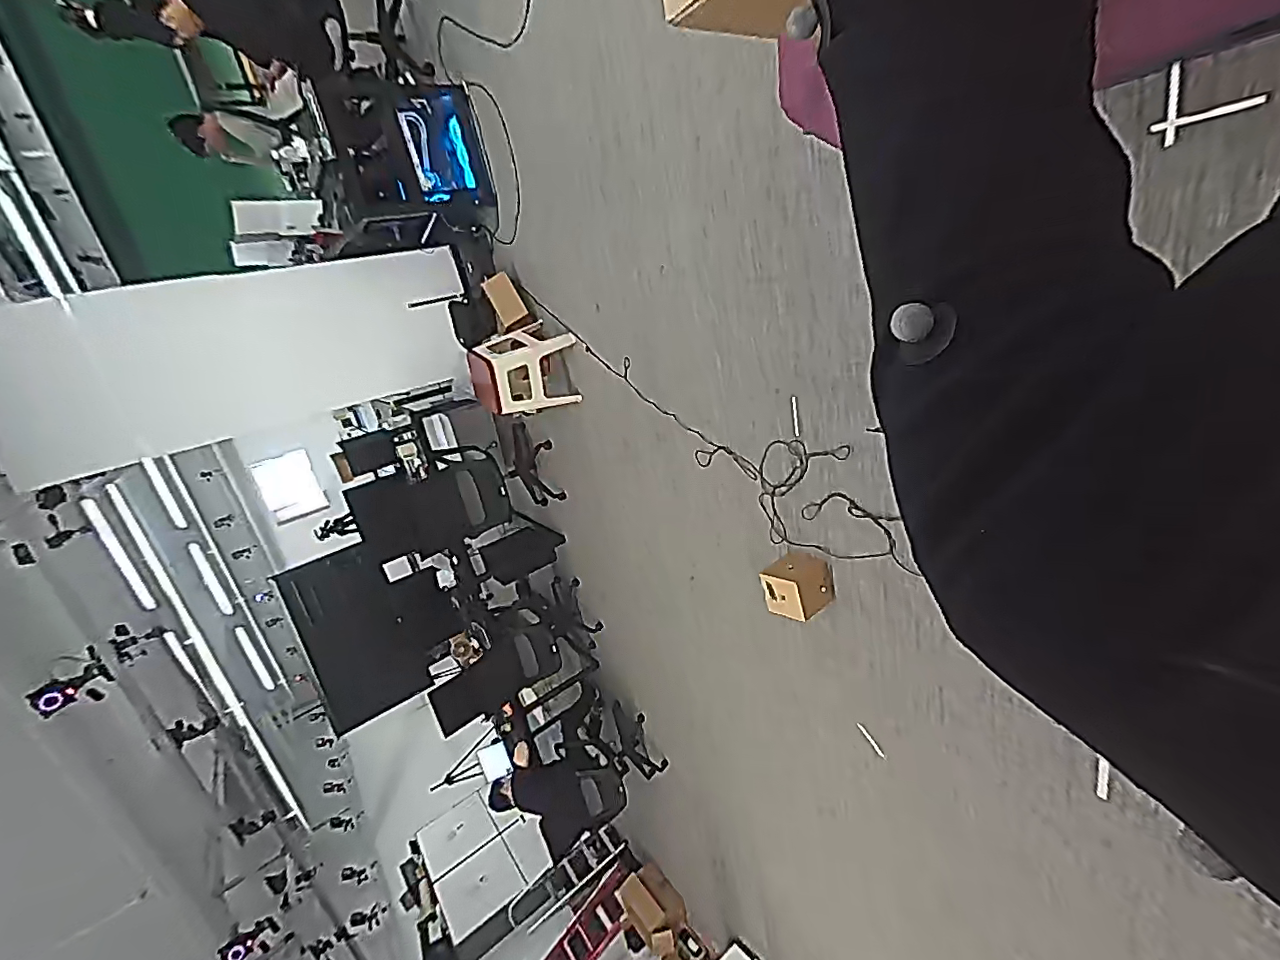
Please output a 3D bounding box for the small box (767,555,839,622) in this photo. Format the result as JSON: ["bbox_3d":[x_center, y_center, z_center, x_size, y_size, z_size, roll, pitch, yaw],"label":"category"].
[{"bbox_3d":[0.604,0.392,1.998,0.179,0.176,0.168,6,117,56],"label":"small box"}]
